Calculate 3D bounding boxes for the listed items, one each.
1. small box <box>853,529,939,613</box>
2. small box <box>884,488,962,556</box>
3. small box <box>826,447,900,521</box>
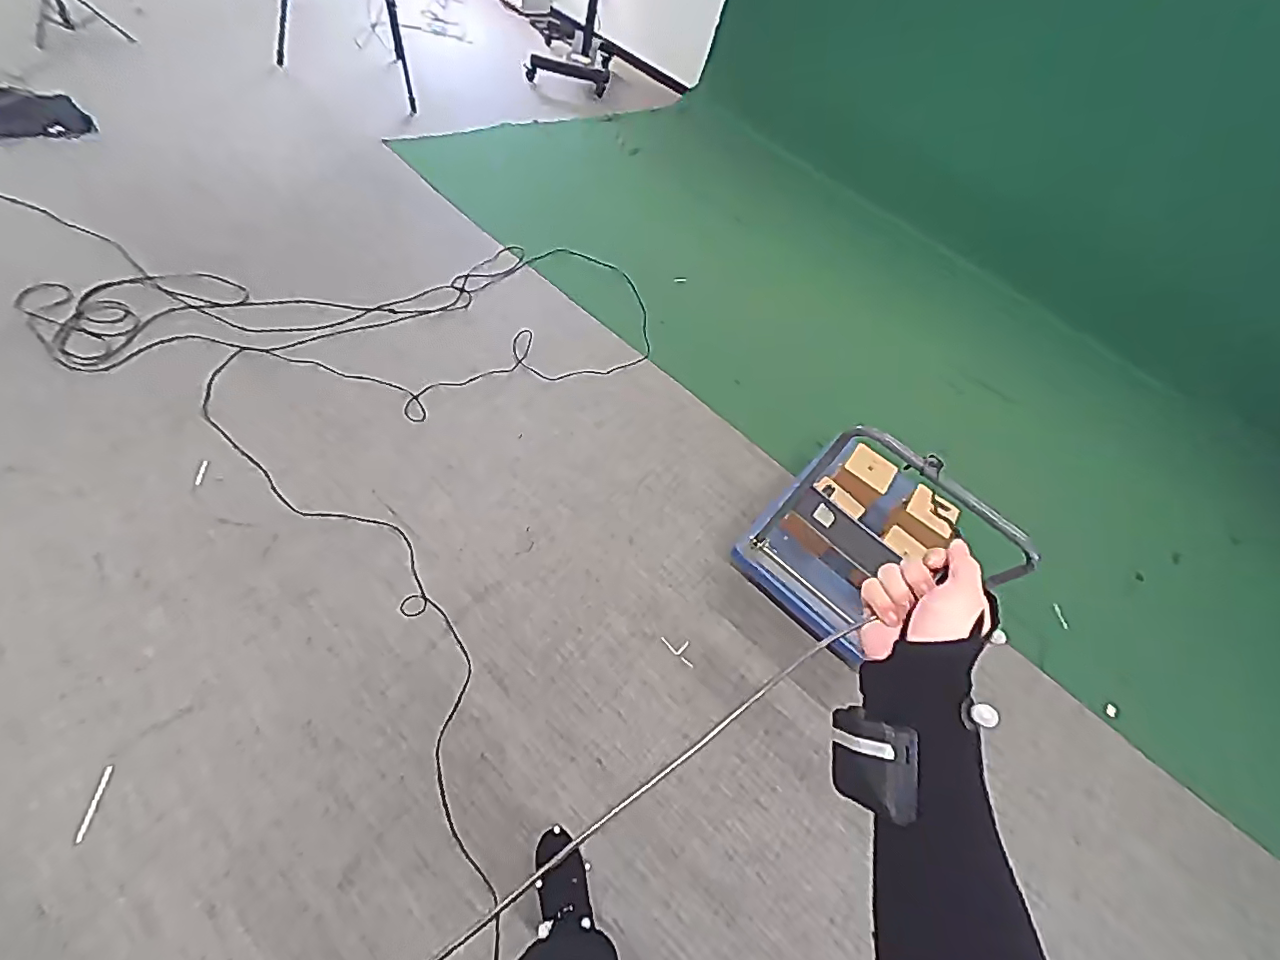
[{"bbox_3d":[0.838,0.302,1.783,0.168,0.176,0.179,42,53,16],"label":"small box"},{"bbox_3d":[1.011,0.168,1.941,0.168,0.176,0.179,38,53,14],"label":"small box"},{"bbox_3d":[0.816,0.019,1.997,0.168,0.176,0.179,38,52,12],"label":"small box"}]
